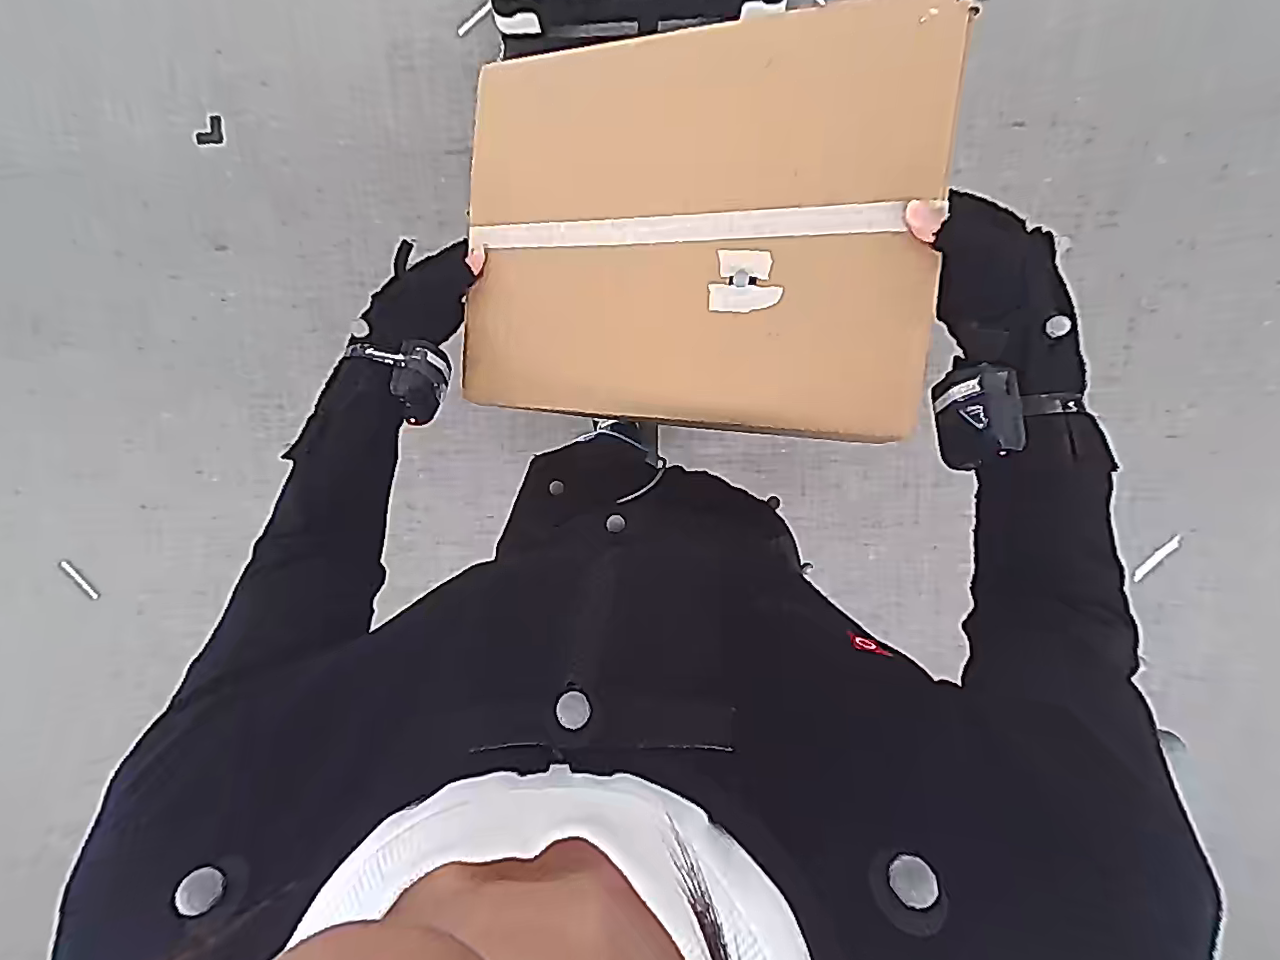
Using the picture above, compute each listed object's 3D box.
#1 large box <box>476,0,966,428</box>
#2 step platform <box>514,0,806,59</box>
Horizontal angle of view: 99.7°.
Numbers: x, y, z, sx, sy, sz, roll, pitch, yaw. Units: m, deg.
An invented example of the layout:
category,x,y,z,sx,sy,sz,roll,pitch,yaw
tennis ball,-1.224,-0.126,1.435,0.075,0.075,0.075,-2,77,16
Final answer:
category,x,y,z,sx,sy,sz,roll,pitch,yaw
large box,0.083,-0.227,0.597,0.408,0.320,0.320,7,97,20
step platform,0.045,-1.183,1.227,0.684,0.204,0.286,-2,96,2
